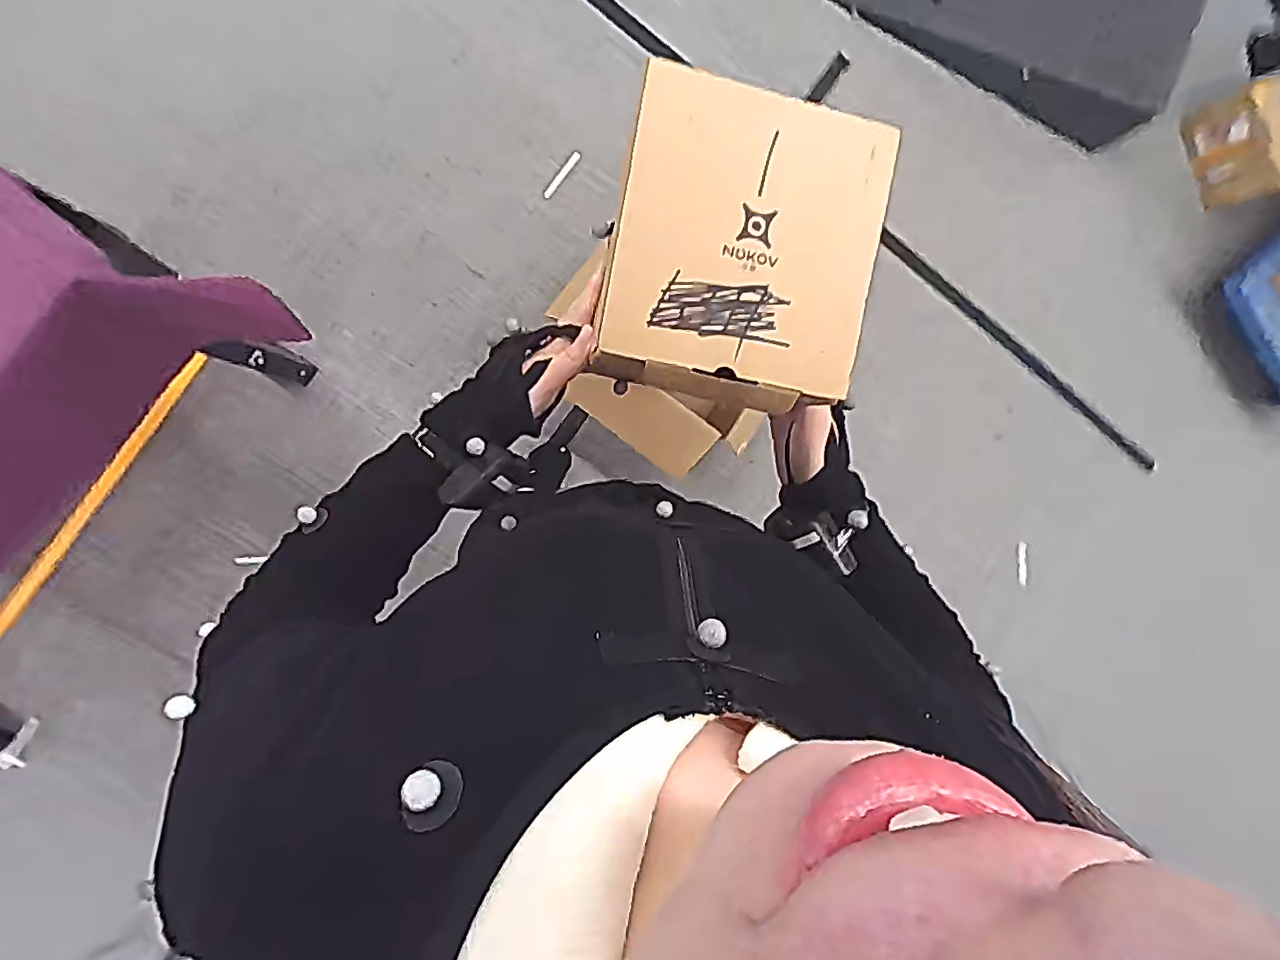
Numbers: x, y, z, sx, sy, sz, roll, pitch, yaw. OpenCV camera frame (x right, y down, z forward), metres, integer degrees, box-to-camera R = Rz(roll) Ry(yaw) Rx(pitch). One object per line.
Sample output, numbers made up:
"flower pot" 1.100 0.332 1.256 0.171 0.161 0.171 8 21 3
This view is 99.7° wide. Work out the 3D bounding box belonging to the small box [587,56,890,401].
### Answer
"small box" 0.053 -0.160 0.413 0.168 0.176 0.179 9 95 -9
